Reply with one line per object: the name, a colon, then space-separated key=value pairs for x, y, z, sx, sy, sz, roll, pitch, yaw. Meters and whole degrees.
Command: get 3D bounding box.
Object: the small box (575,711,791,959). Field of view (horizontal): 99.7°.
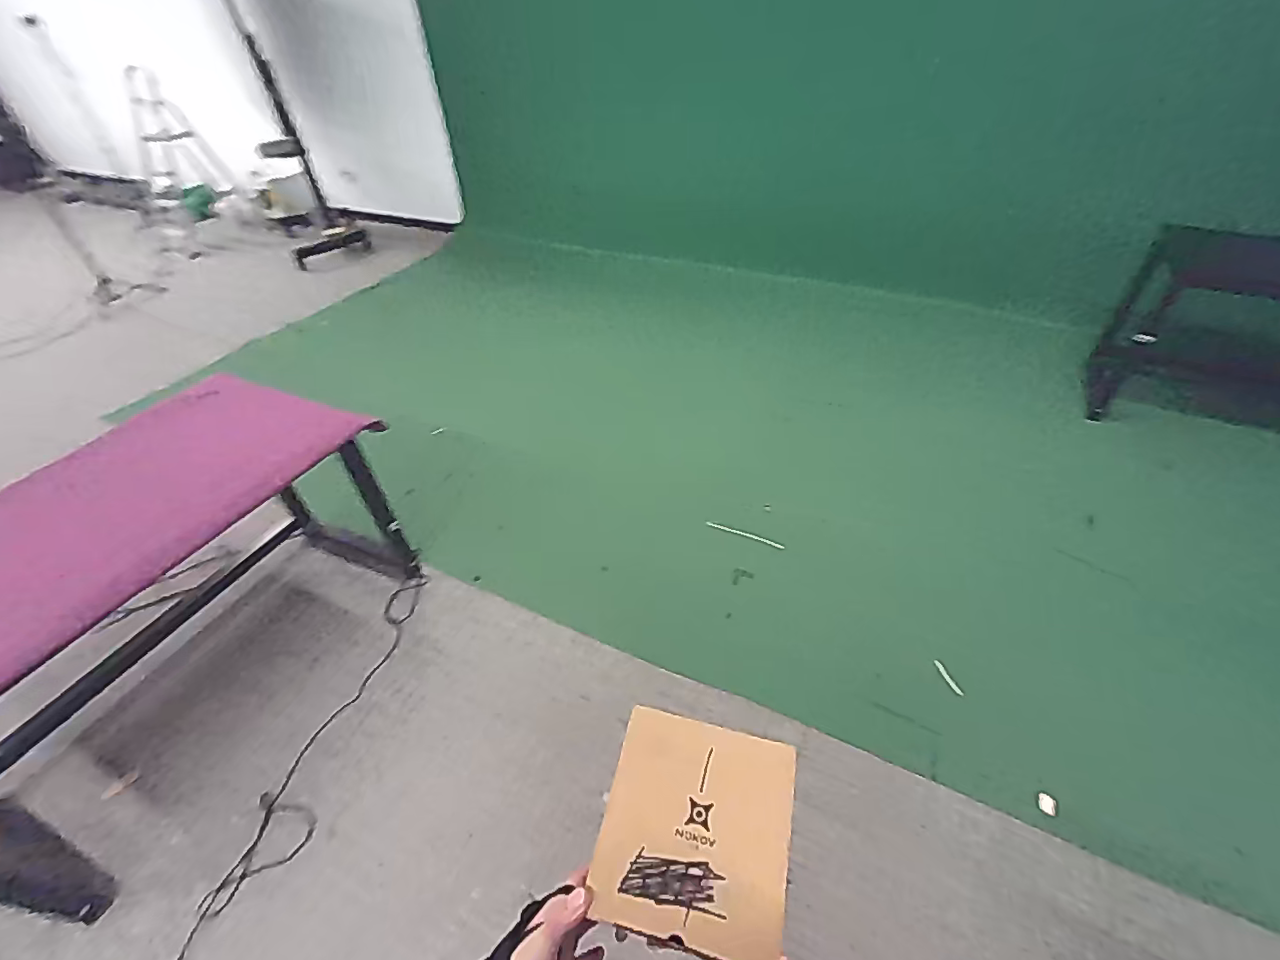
small box: x=0.047 y=0.363 z=0.548 sx=0.168 sy=0.176 sz=0.179 roll=11 pitch=54 yaw=9
